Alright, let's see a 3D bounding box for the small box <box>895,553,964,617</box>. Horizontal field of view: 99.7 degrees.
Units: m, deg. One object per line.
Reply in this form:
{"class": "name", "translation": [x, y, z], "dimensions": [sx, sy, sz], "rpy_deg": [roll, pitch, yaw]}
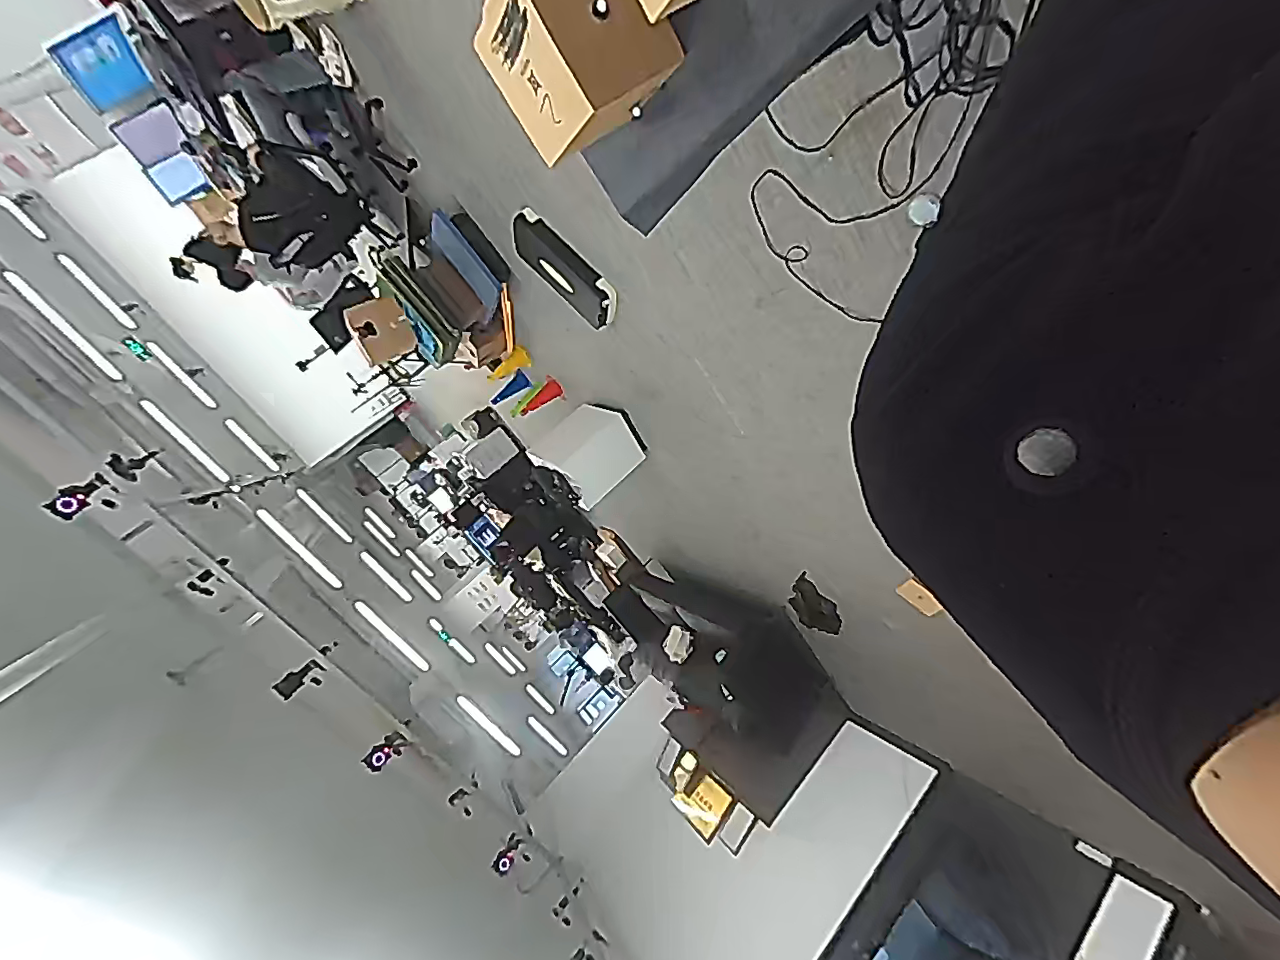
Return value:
{"class": "small box", "translation": [1.202, 0.435, 2.243], "dimensions": [0.168, 0.176, 0.179], "rpy_deg": [39, 159, 21]}

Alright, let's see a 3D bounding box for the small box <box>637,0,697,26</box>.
{"class": "small box", "translation": [0.061, -0.539, 0.437], "dimensions": [0.179, 0.176, 0.168], "rpy_deg": [56, 161, -21]}
